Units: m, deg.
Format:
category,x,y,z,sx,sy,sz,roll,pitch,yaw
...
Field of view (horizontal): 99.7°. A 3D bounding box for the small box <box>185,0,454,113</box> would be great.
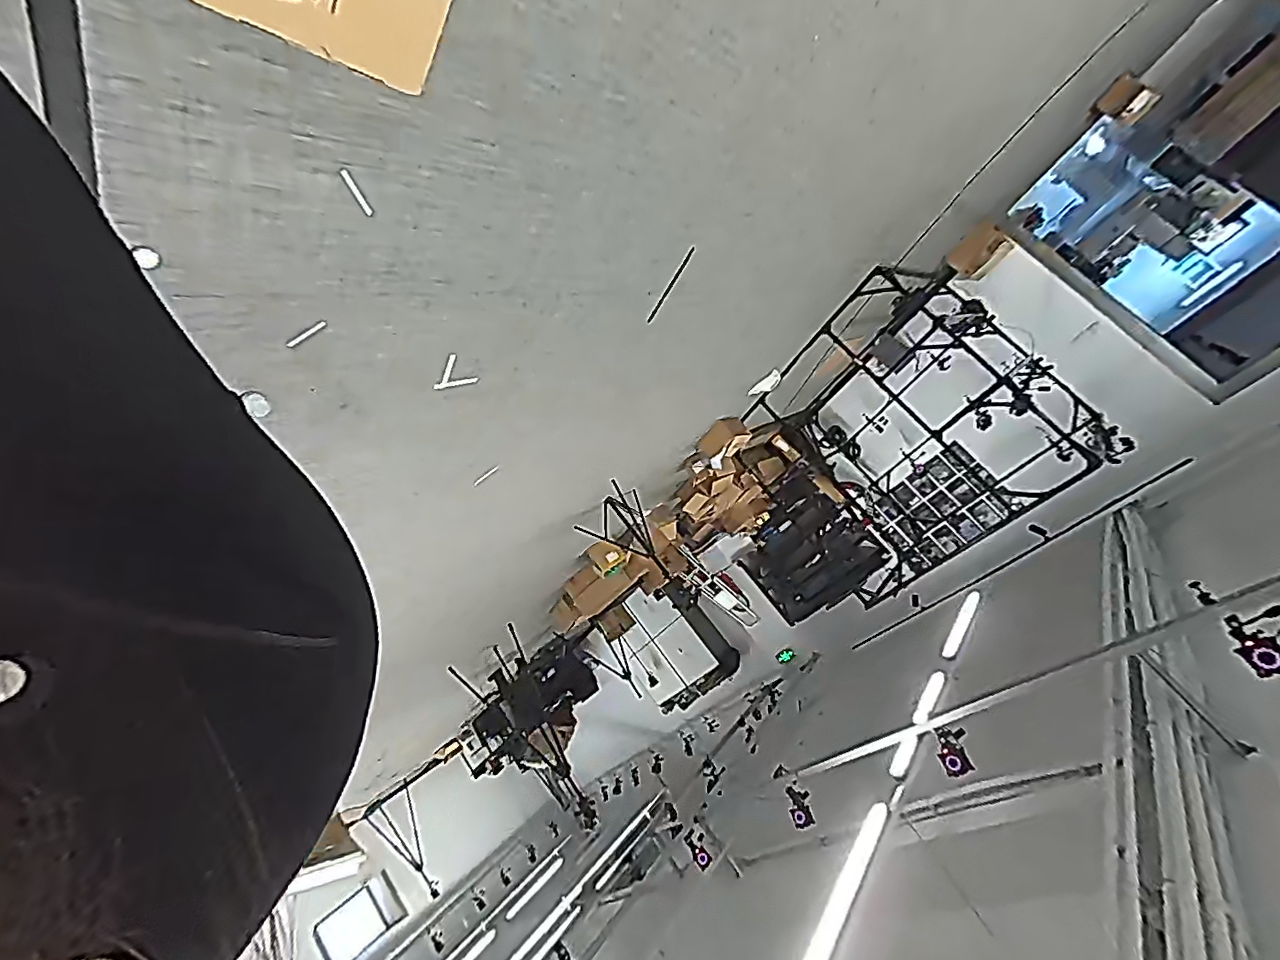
category,x,y,z,sx,sy,sz,roll,pitch,yaw
small box,-0.244,-0.418,0.380,0.168,0.176,0.179,-19,154,-54
